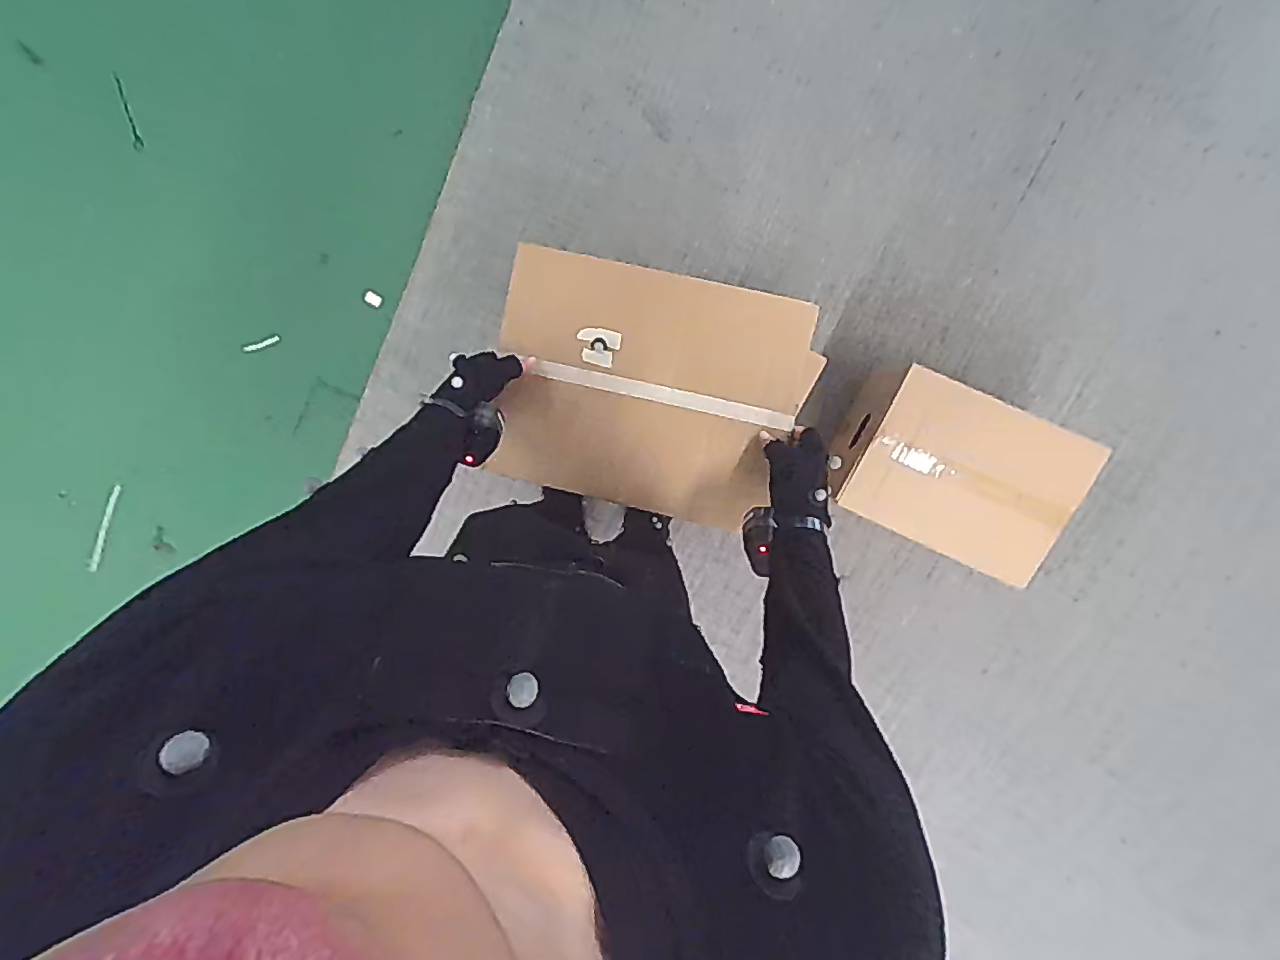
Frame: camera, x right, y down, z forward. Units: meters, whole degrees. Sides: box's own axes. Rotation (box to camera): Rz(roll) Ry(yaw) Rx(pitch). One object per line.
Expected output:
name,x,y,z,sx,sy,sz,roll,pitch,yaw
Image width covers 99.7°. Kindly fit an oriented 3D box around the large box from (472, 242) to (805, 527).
large box,0.006,-0.144,0.862,0.408,0.320,0.320,14,98,5
